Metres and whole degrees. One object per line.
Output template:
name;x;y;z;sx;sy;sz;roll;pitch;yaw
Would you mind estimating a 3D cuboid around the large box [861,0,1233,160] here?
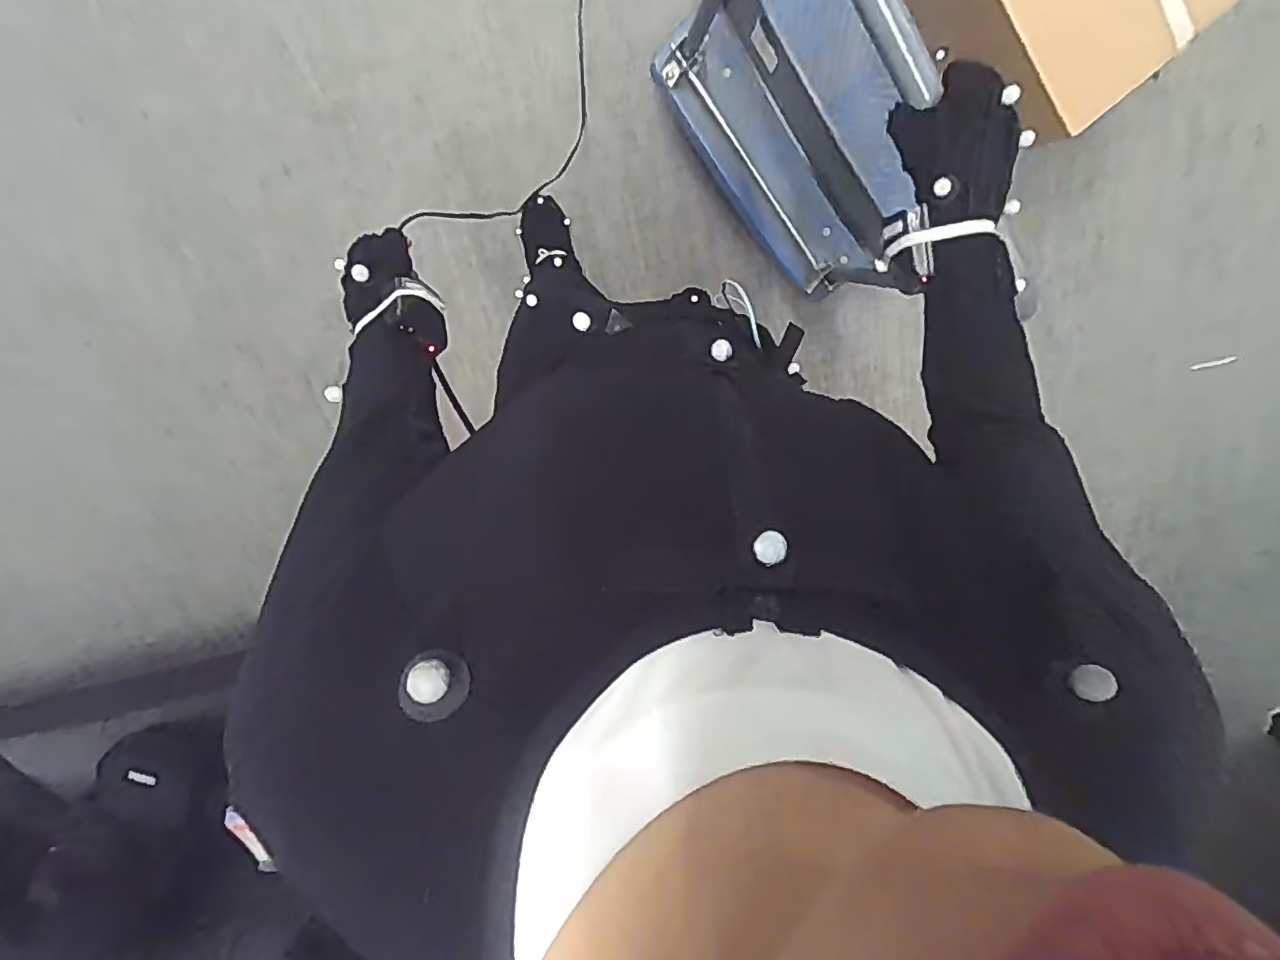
large box;0.598;-0.781;0.821;0.320;0.320;0.408;-40;108;17
